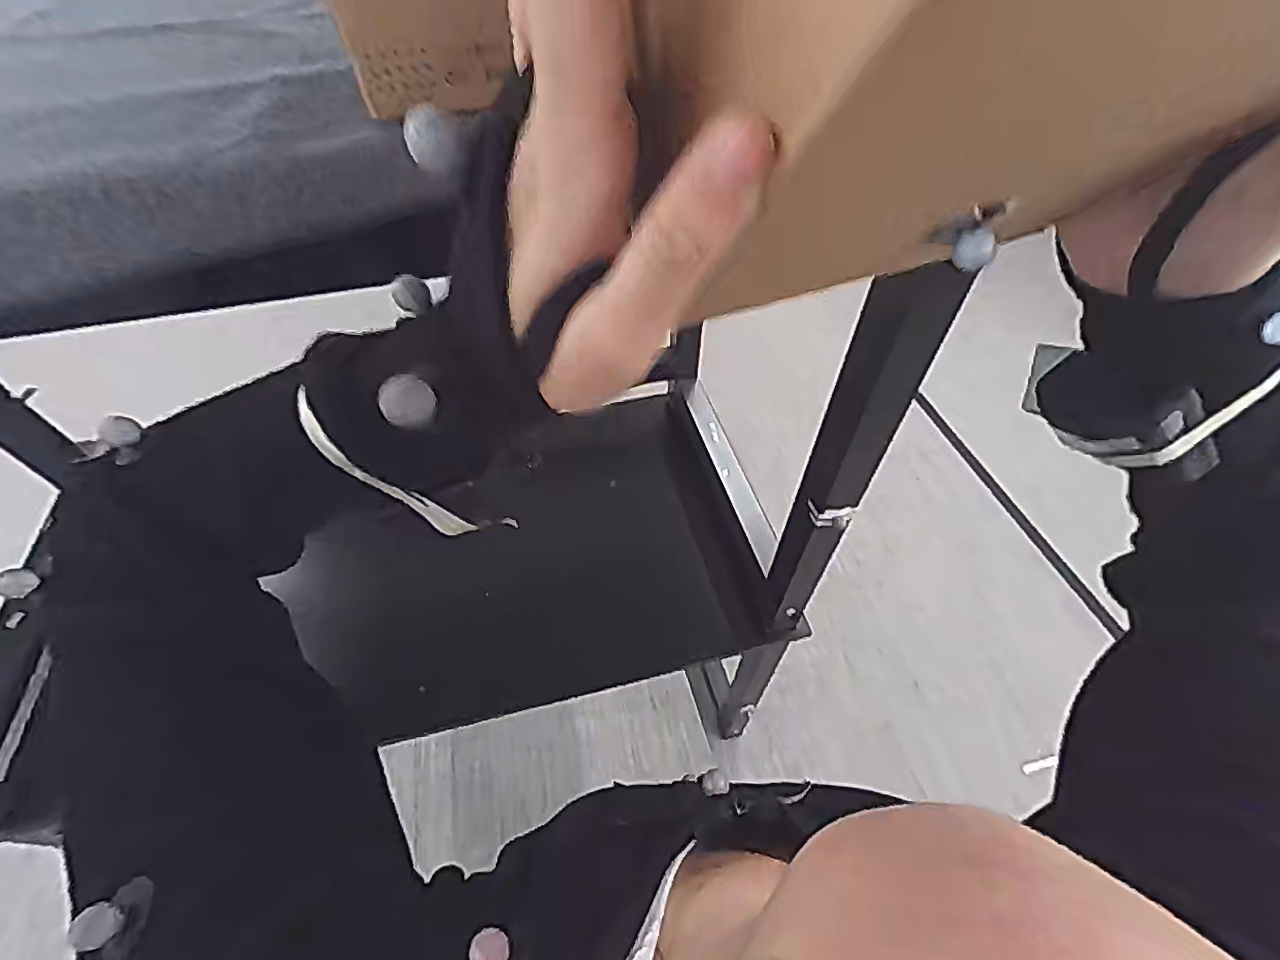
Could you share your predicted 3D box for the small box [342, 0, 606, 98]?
[{"bbox_3d":[-0.074,-0.312,0.264,0.168,0.176,0.179,-11,52,-7],"label":"small box"}]
